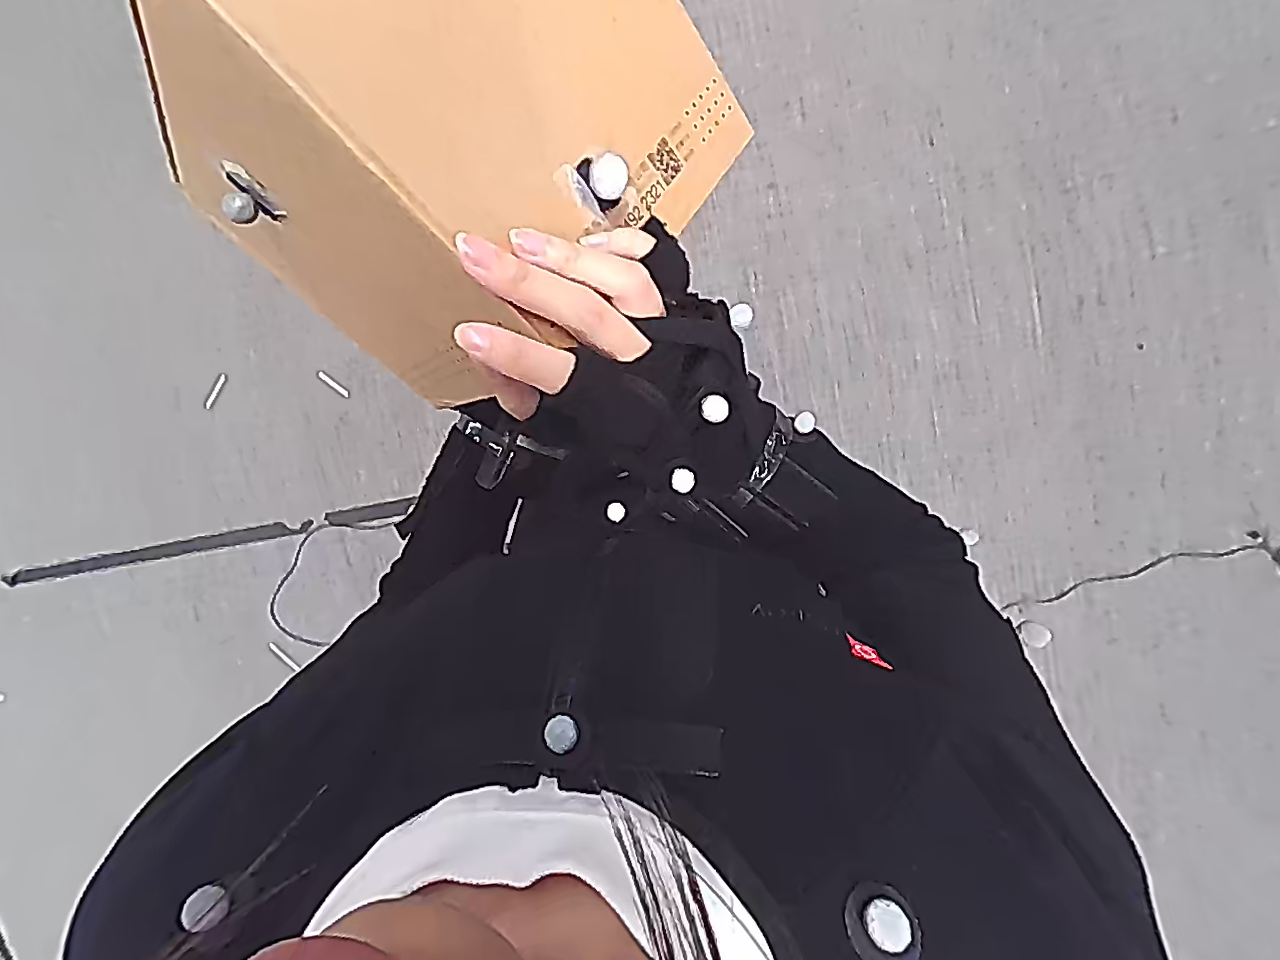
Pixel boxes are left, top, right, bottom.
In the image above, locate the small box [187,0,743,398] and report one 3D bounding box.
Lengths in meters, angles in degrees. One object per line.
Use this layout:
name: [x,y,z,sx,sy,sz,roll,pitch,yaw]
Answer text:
small box: [-0.082,-0.159,0.285,0.176,0.179,0.168,43,67,-29]
